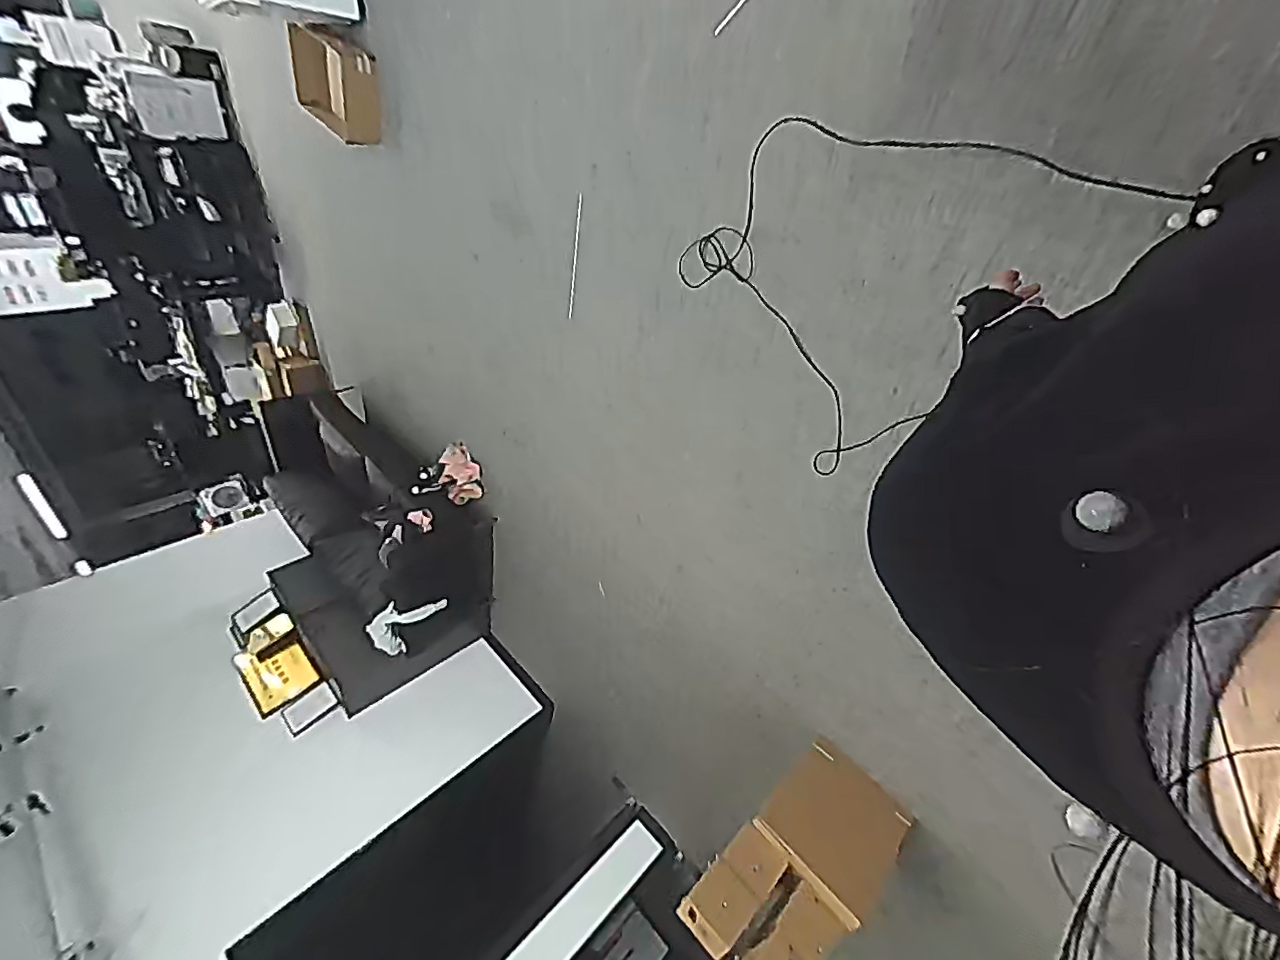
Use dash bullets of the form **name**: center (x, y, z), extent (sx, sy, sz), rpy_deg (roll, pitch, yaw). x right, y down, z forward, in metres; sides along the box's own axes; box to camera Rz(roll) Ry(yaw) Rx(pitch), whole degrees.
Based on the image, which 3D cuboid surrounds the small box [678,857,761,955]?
- **small box**: center (0.257, 1.365, 1.746), extent (0.179, 0.176, 0.168), rpy_deg (37, 134, 27)
